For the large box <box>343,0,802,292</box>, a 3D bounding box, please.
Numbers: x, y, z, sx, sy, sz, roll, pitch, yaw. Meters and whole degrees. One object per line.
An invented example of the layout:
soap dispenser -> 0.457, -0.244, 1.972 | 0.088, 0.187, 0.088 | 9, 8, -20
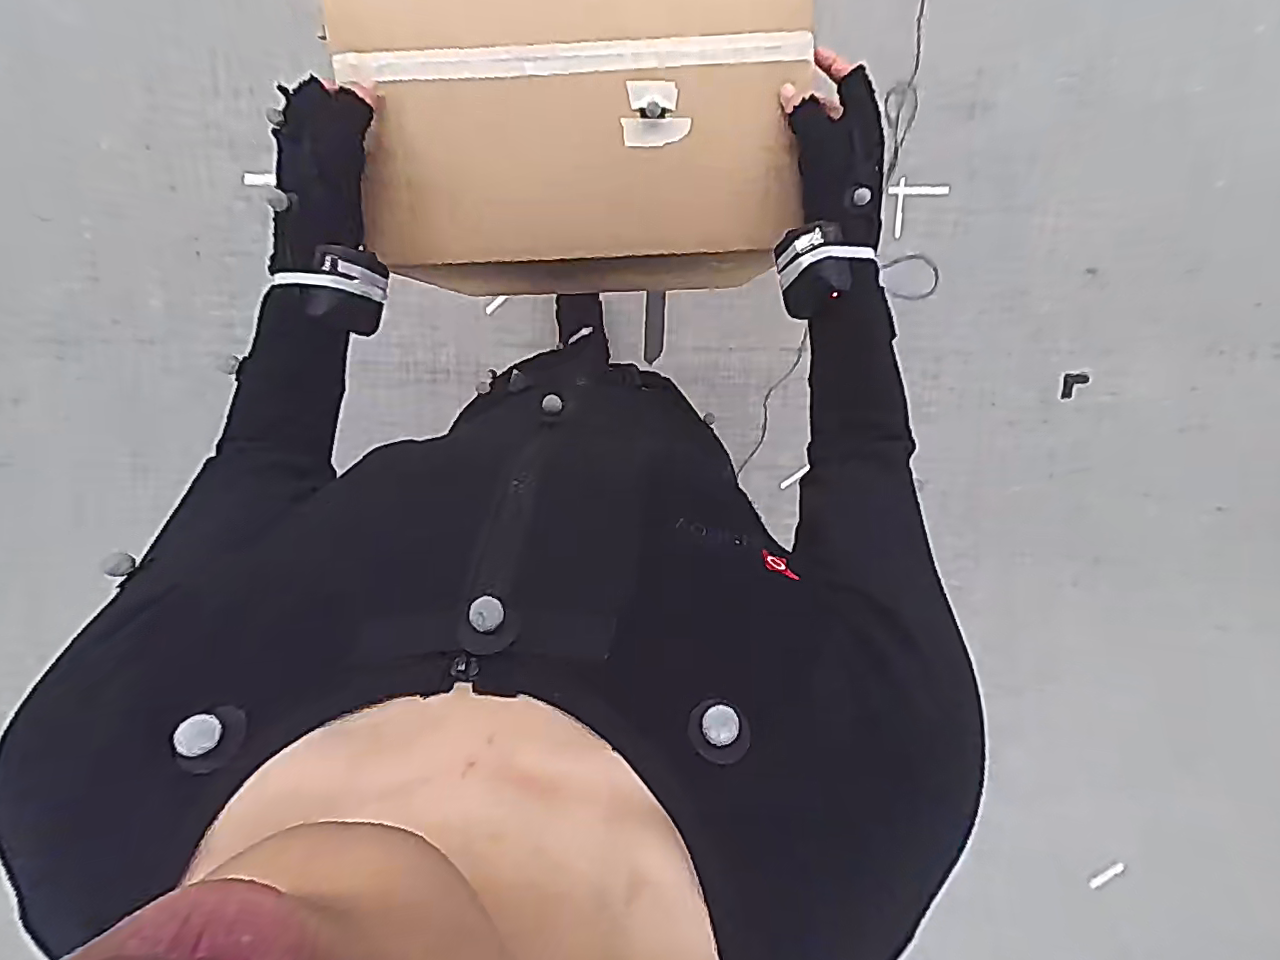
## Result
large box -> -0.059, -0.405, 0.620 | 0.408, 0.320, 0.320 | -3, 104, 0
